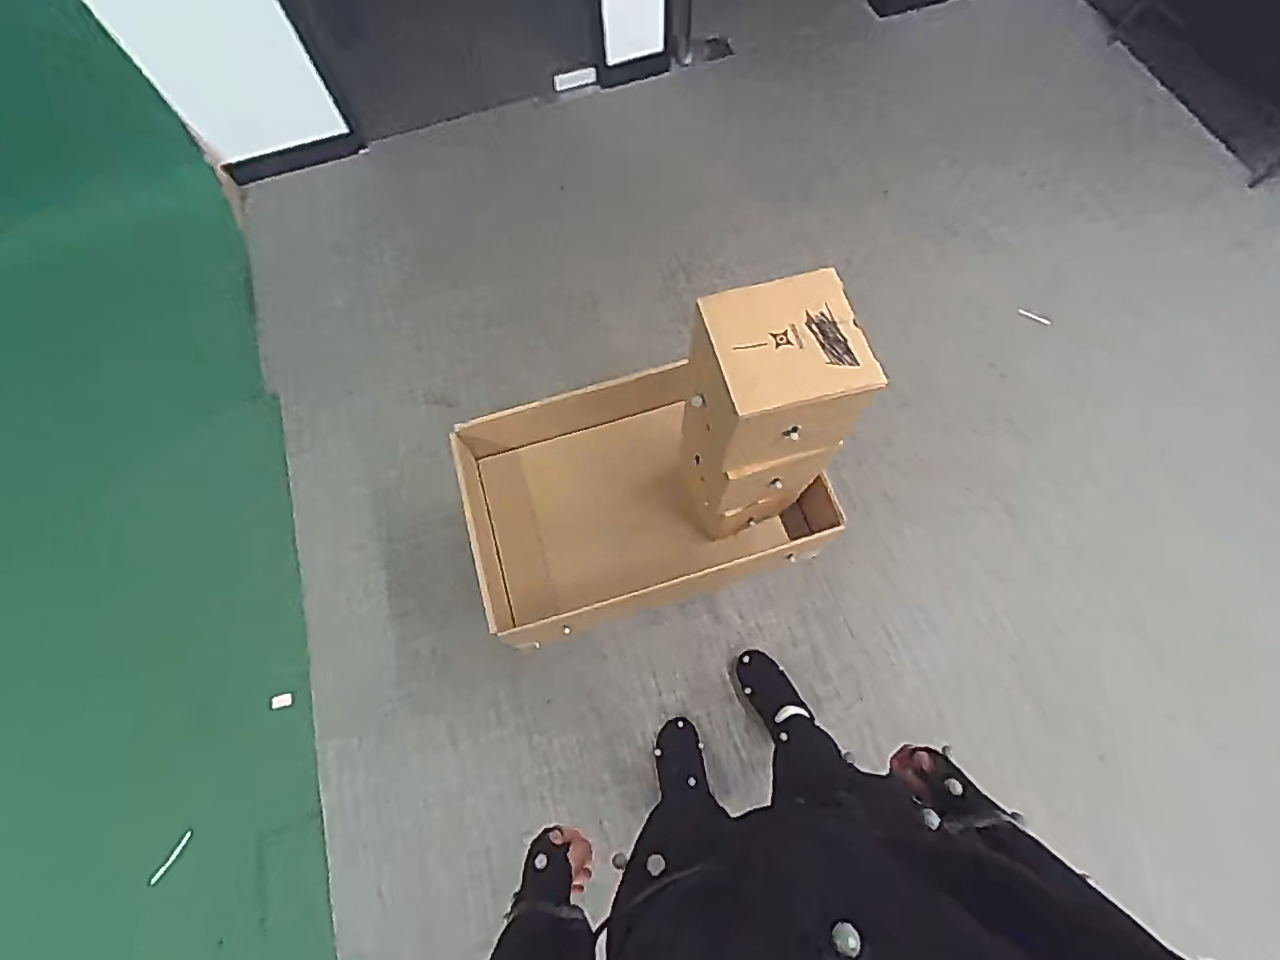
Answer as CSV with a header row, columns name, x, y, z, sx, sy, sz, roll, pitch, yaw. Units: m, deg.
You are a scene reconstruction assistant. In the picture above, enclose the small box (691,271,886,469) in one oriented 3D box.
name,x,y,z,sx,sy,sz,roll,pitch,yaw
small box,0.172,-0.131,0.690,0.179,0.176,0.168,-14,70,-3
